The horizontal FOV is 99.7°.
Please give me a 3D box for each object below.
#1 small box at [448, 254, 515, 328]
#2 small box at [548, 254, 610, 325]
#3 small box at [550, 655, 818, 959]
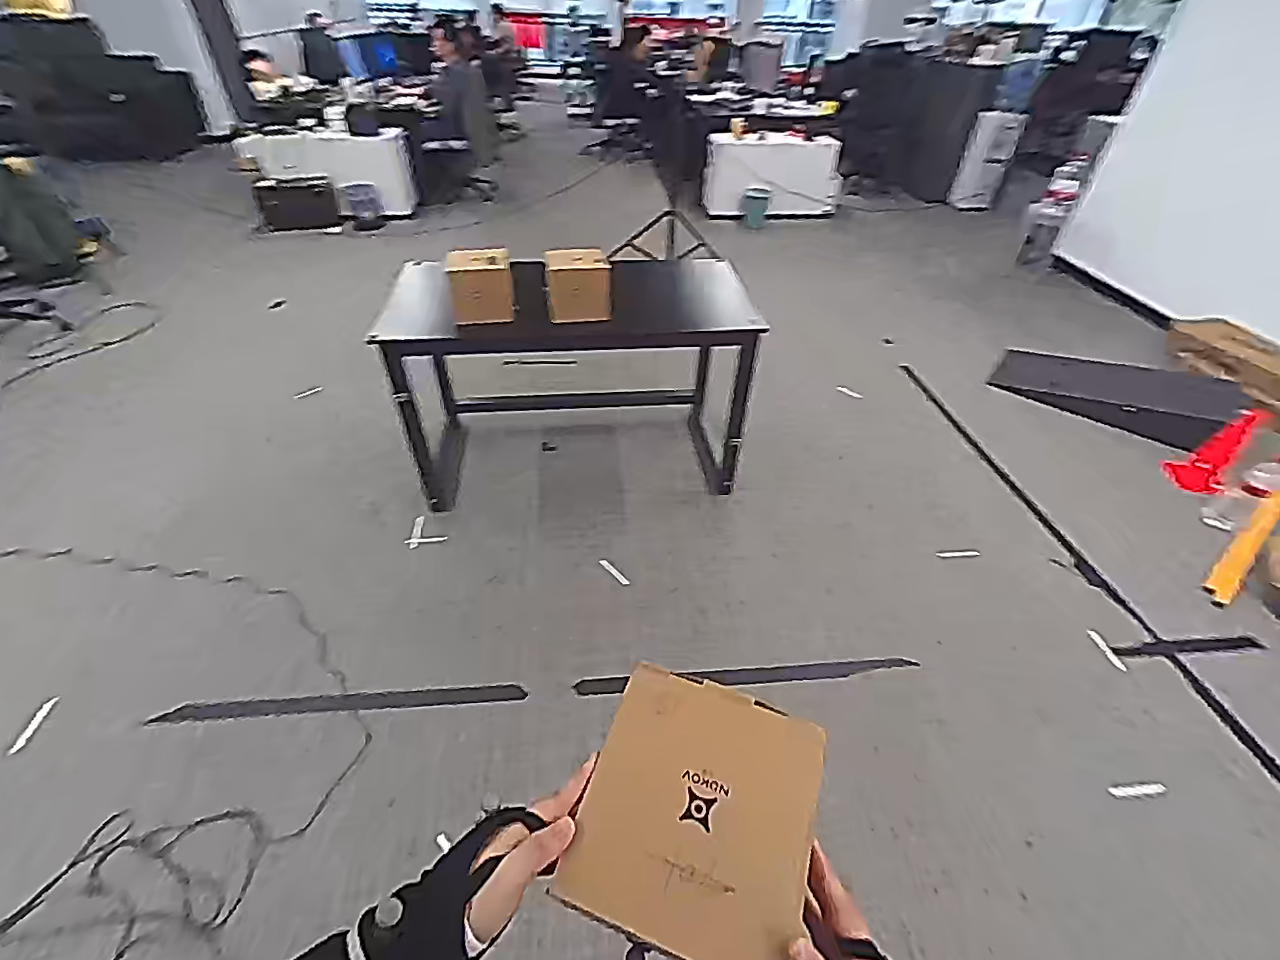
[{"bbox_3d":[-0.485,-0.589,1.684,0.179,0.176,0.168,-7,42,-9],"label":"small box"},{"bbox_3d":[-0.192,-0.601,1.711,0.179,0.176,0.168,-6,42,-9],"label":"small box"},{"bbox_3d":[0.039,0.286,0.463,0.168,0.176,0.179,15,51,12],"label":"small box"}]
